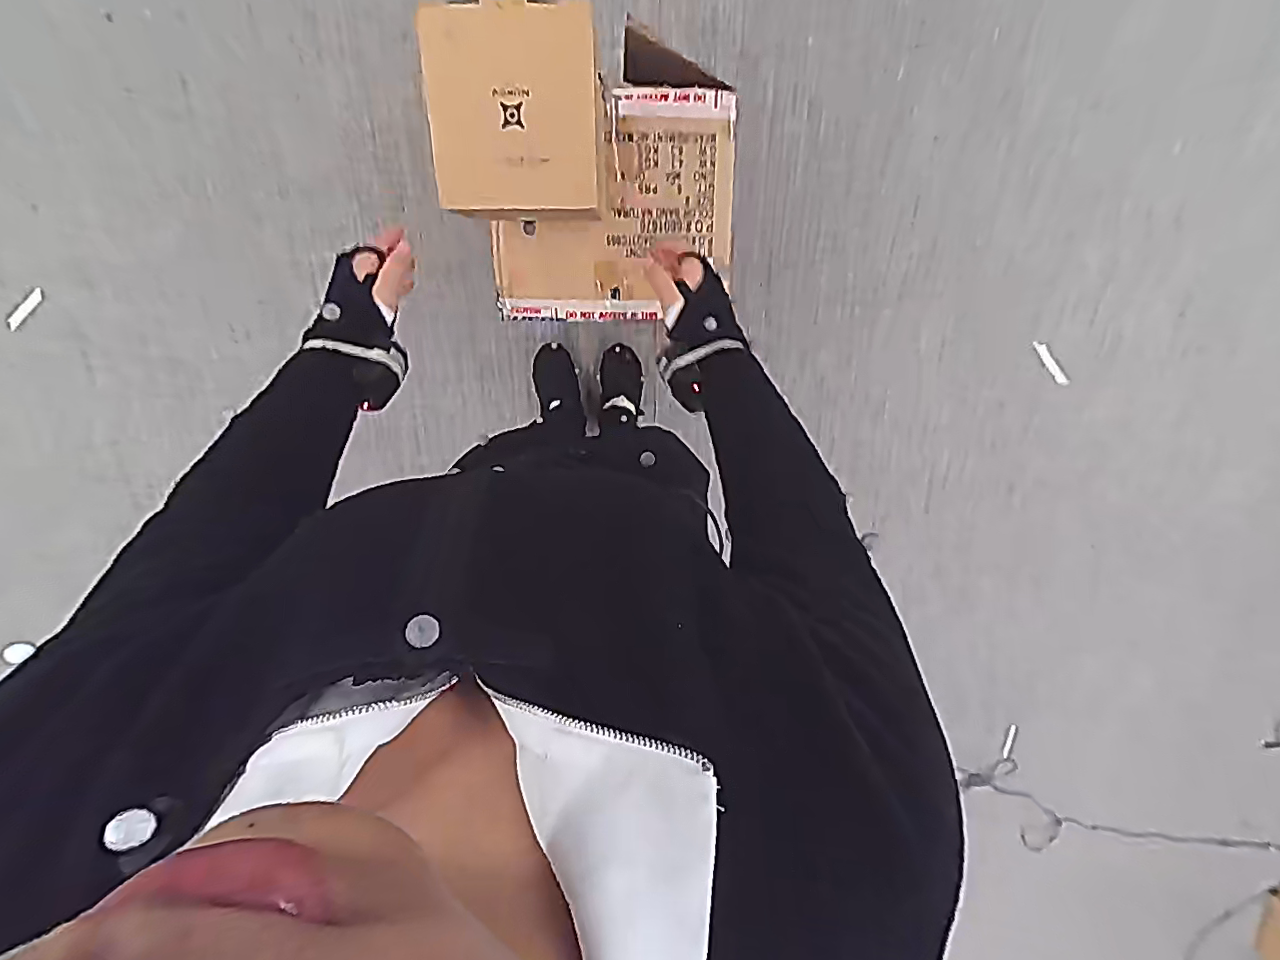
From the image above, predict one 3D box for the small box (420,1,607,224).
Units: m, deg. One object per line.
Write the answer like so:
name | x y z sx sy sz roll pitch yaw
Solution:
small box | -0.124 -0.389 0.603 0.168 0.176 0.179 -1 112 0
